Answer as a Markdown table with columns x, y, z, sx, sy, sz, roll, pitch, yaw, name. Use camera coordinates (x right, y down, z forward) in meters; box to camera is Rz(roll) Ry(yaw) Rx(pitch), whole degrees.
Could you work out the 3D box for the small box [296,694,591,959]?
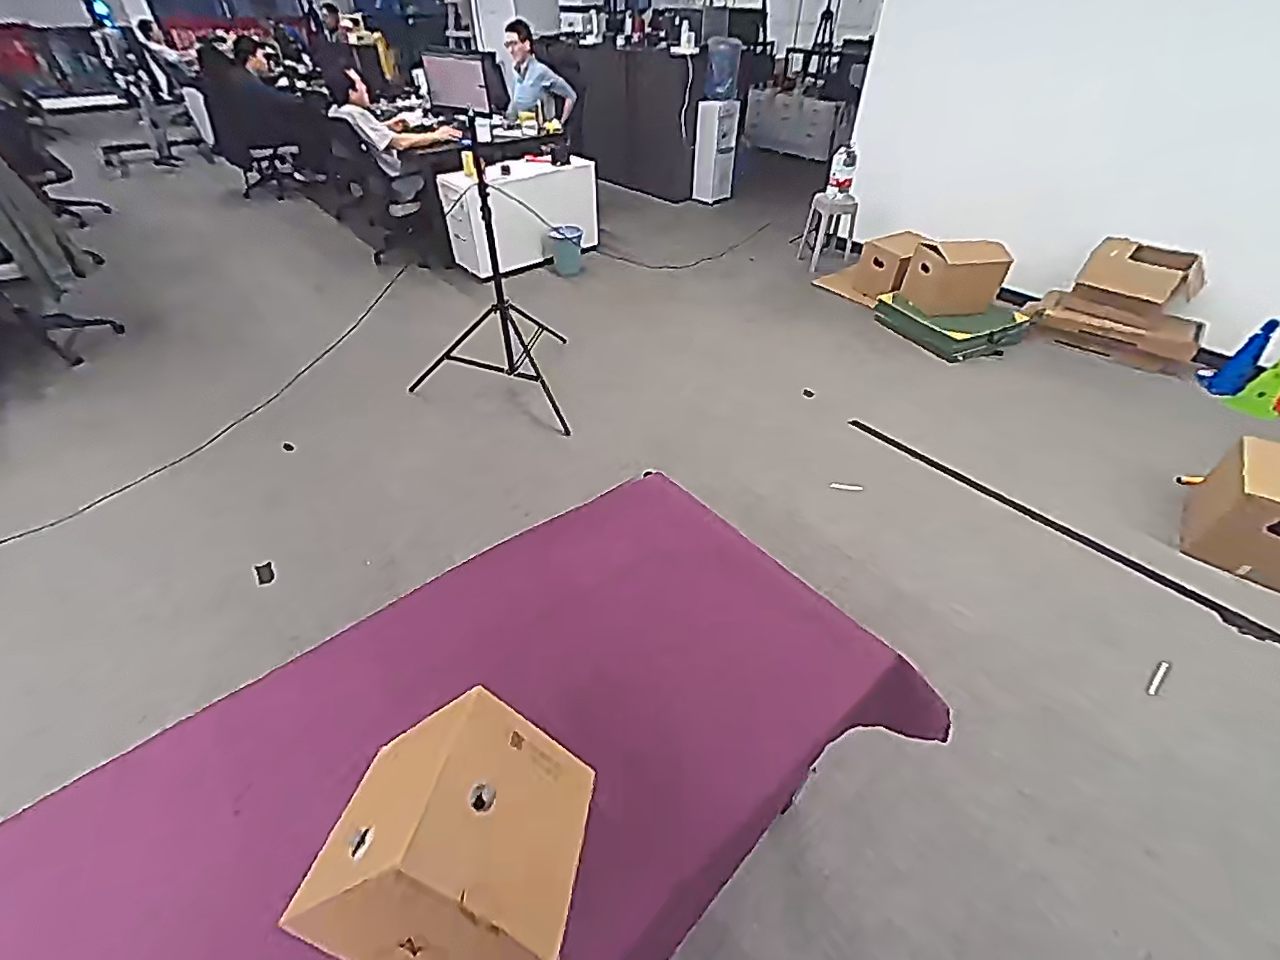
| x | y | z | sx | sy | sz | roll | pitch | yaw | name |
| --- | --- | --- | --- | --- | --- | --- | --- | --- | --- |
| -0.164 | 0.335 | 0.507 | 0.168 | 0.179 | 0.176 | 44 | 28 | -15 | small box |
